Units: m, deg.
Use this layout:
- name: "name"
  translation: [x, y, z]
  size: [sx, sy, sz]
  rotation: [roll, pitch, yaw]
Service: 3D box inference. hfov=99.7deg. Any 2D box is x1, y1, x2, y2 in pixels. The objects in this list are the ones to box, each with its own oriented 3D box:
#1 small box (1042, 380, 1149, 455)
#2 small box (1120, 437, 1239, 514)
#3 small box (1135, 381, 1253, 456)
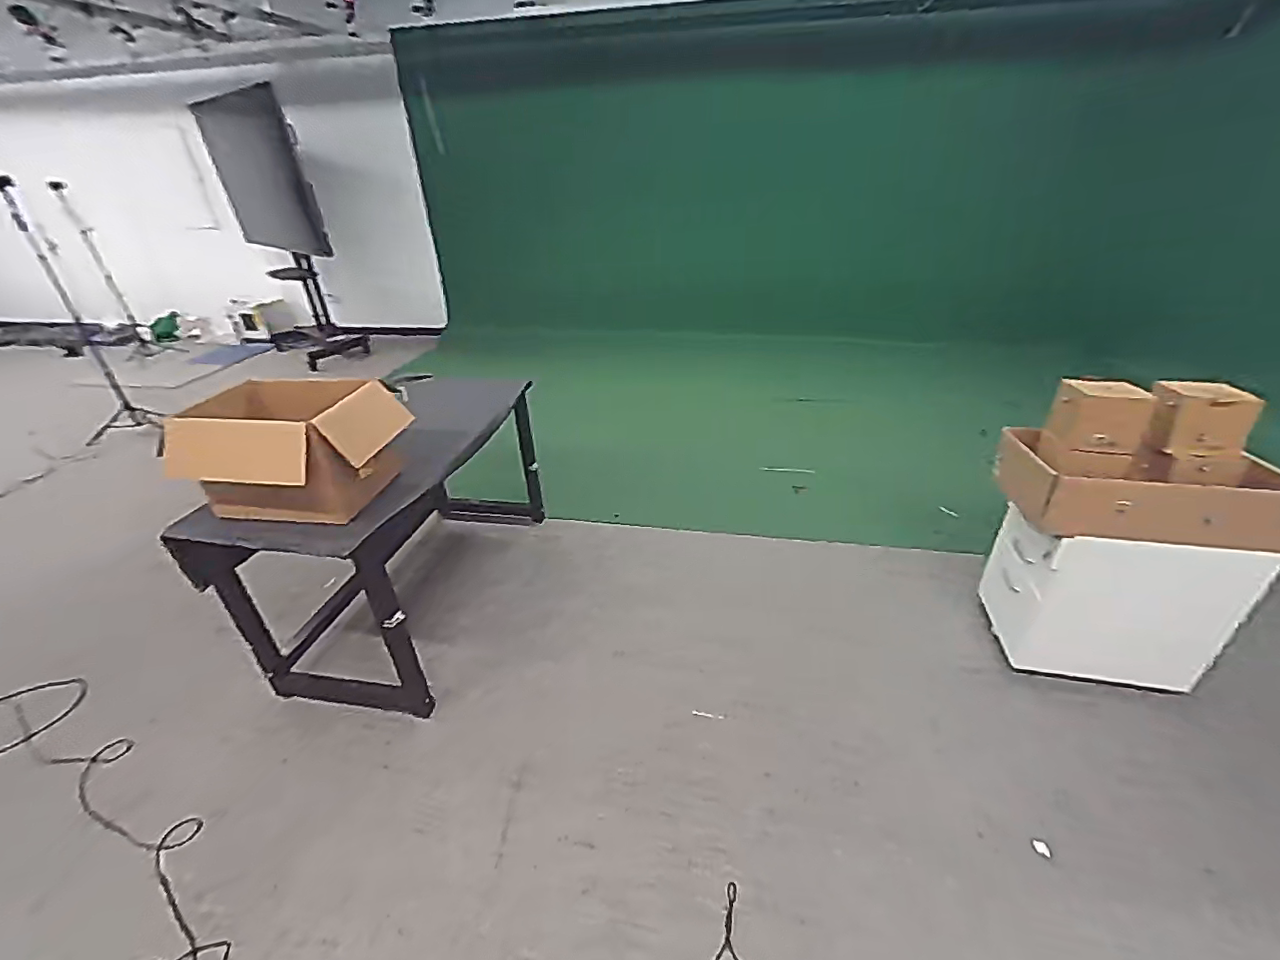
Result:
- name: "small box"
  translation: [1.320, -0.186, 1.585]
  size: [0.168, 0.176, 0.179]
  rotation: [5, 27, 13]
- name: "small box"
  translation: [1.580, -0.017, 1.599]
  size: [0.168, 0.176, 0.179]
  rotation: [3, 25, 13]
- name: "small box"
  translation: [1.574, -0.177, 1.560]
  size: [0.168, 0.176, 0.179]
  rotation: [6, 27, 16]
